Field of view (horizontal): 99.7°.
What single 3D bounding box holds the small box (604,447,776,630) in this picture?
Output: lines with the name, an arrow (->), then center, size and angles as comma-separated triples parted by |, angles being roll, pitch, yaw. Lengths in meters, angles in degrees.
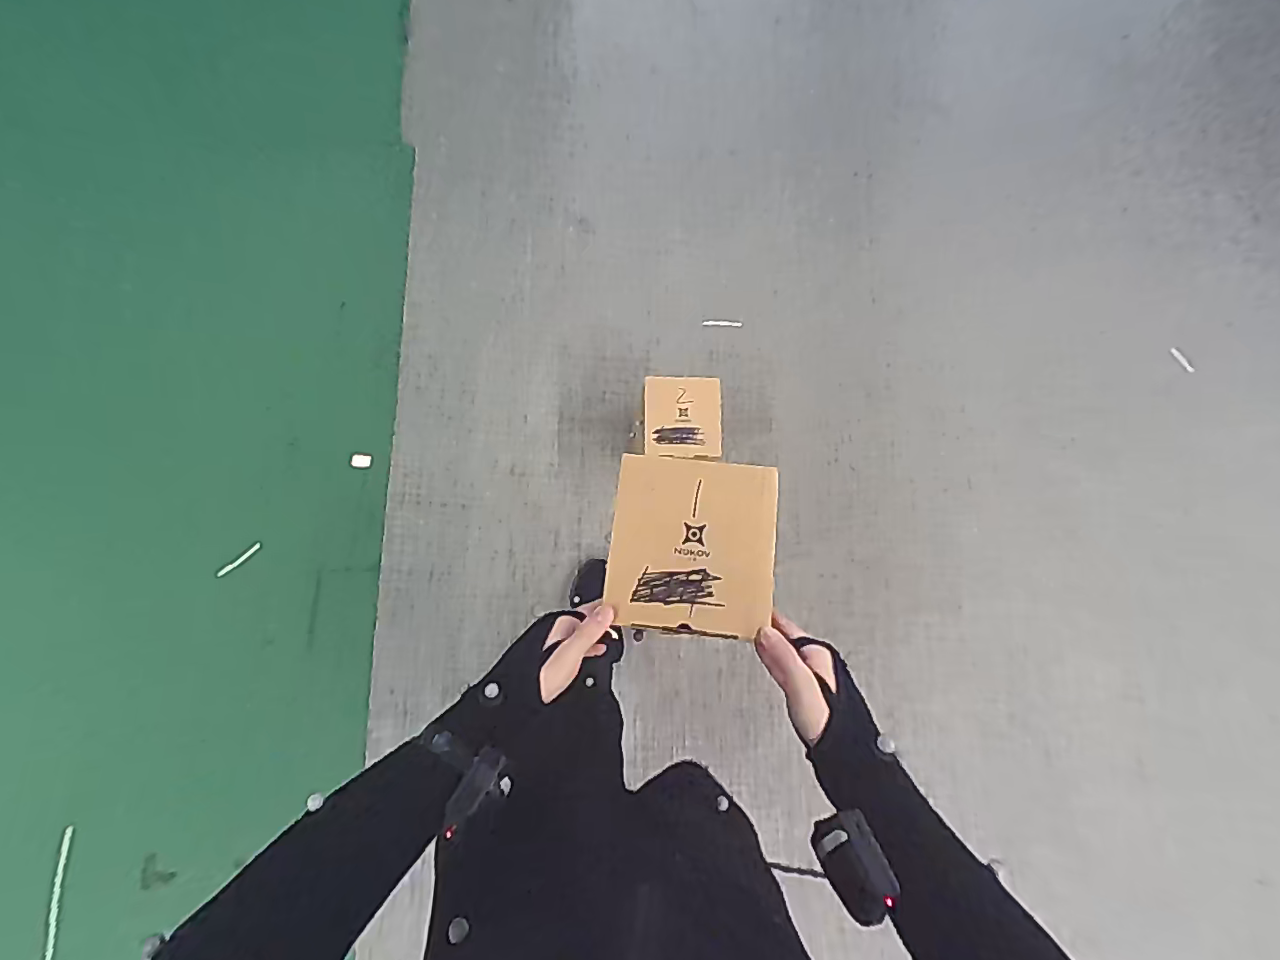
small box -> 0.058, 0.077, 0.630 | 0.168, 0.176, 0.179 | 5, 72, 4

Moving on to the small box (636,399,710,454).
small box -> 0.080, -0.104, 1.400 | 0.179, 0.176, 0.168 | 1, 82, -5
